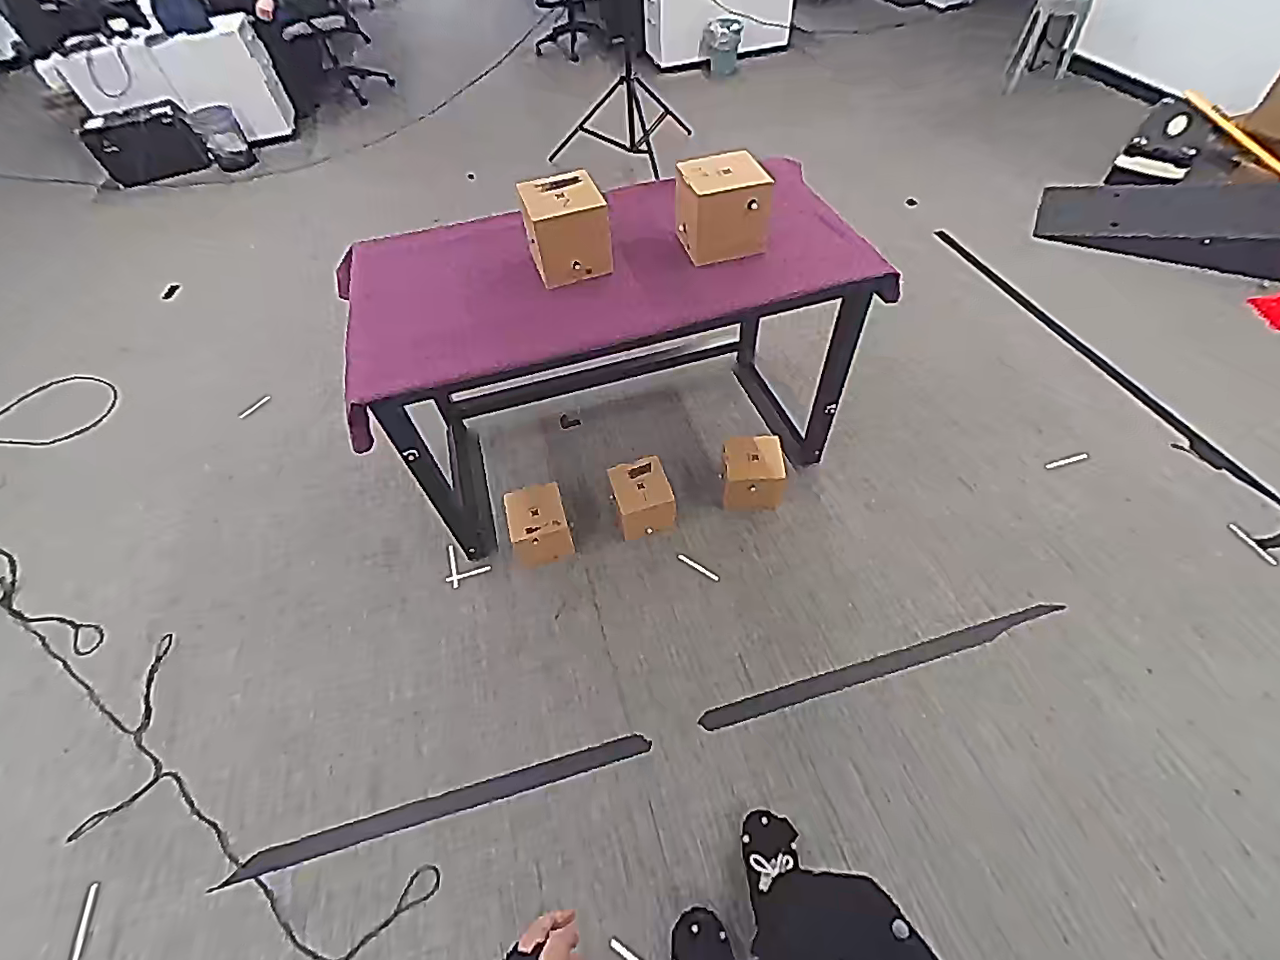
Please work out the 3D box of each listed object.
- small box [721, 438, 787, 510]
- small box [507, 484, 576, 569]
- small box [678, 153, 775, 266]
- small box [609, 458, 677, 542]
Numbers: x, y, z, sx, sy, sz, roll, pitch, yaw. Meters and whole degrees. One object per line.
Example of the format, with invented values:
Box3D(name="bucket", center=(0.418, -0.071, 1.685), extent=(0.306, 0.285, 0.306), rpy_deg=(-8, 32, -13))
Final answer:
Box3D(name="small box", center=(0.354, -0.017, 1.709), extent=(0.179, 0.176, 0.168), rpy_deg=(-2, 54, 4))
Box3D(name="small box", center=(-0.297, 0.142, 1.641), extent=(0.168, 0.176, 0.179), rpy_deg=(-14, 52, -6))
Box3D(name="small box", center=(0.193, -0.629, 1.263), extent=(0.179, 0.176, 0.168), rpy_deg=(-14, 53, -5))
Box3D(name="small box", center=(0.008, 0.064, 1.674), extent=(0.168, 0.176, 0.179), rpy_deg=(-16, 55, -7))
